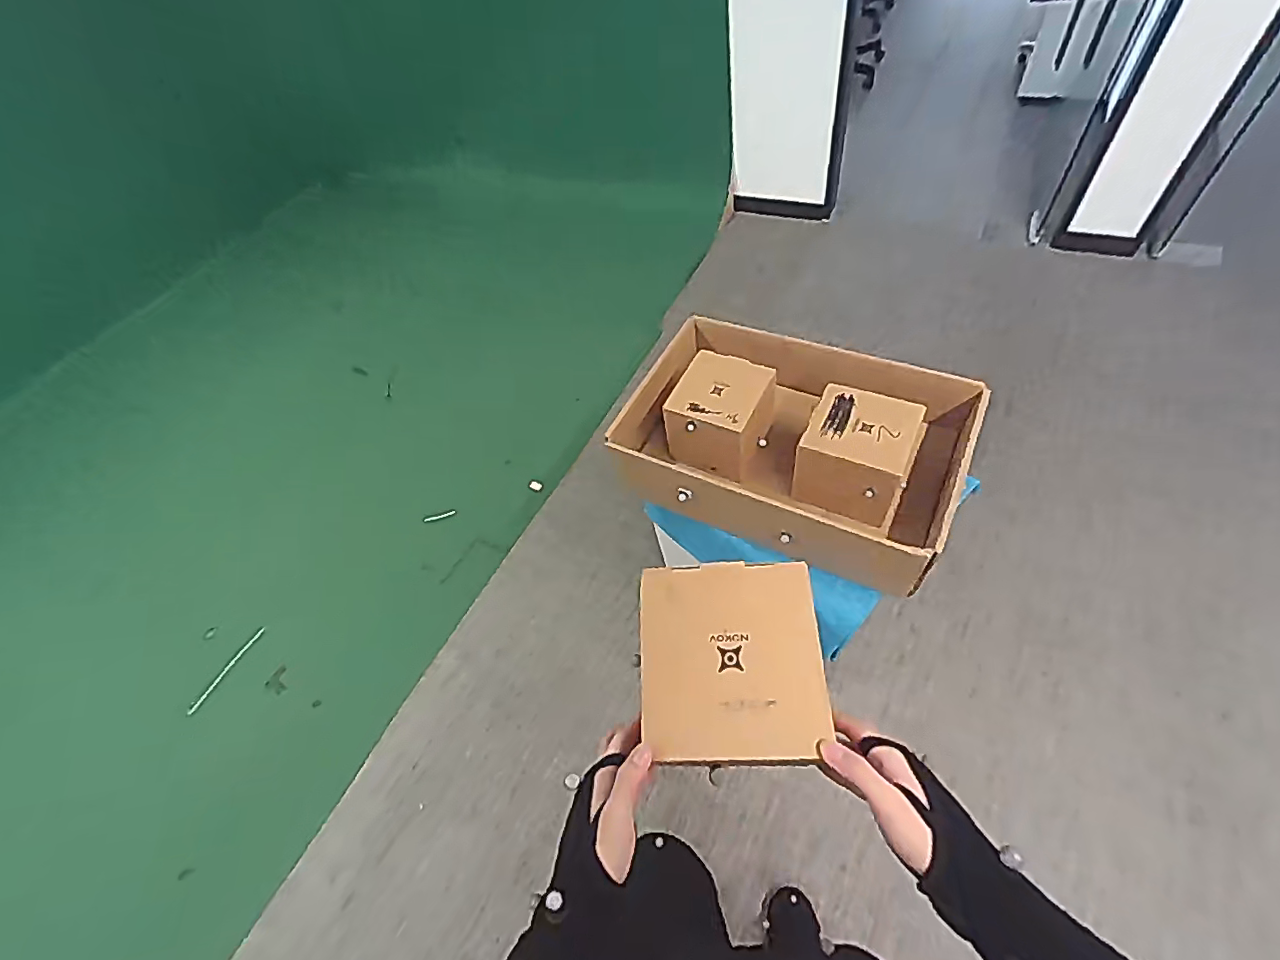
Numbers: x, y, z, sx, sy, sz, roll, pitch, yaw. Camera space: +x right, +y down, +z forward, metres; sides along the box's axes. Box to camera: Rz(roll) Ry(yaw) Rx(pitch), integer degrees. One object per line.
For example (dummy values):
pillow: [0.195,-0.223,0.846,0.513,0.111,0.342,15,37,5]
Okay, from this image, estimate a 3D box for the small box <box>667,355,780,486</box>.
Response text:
small box: [0.173,-0.121,1.108,0.168,0.176,0.179,21,60,24]

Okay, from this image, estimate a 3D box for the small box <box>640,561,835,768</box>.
small box: [0.091,0.197,0.564,0.168,0.176,0.179,-3,60,6]
